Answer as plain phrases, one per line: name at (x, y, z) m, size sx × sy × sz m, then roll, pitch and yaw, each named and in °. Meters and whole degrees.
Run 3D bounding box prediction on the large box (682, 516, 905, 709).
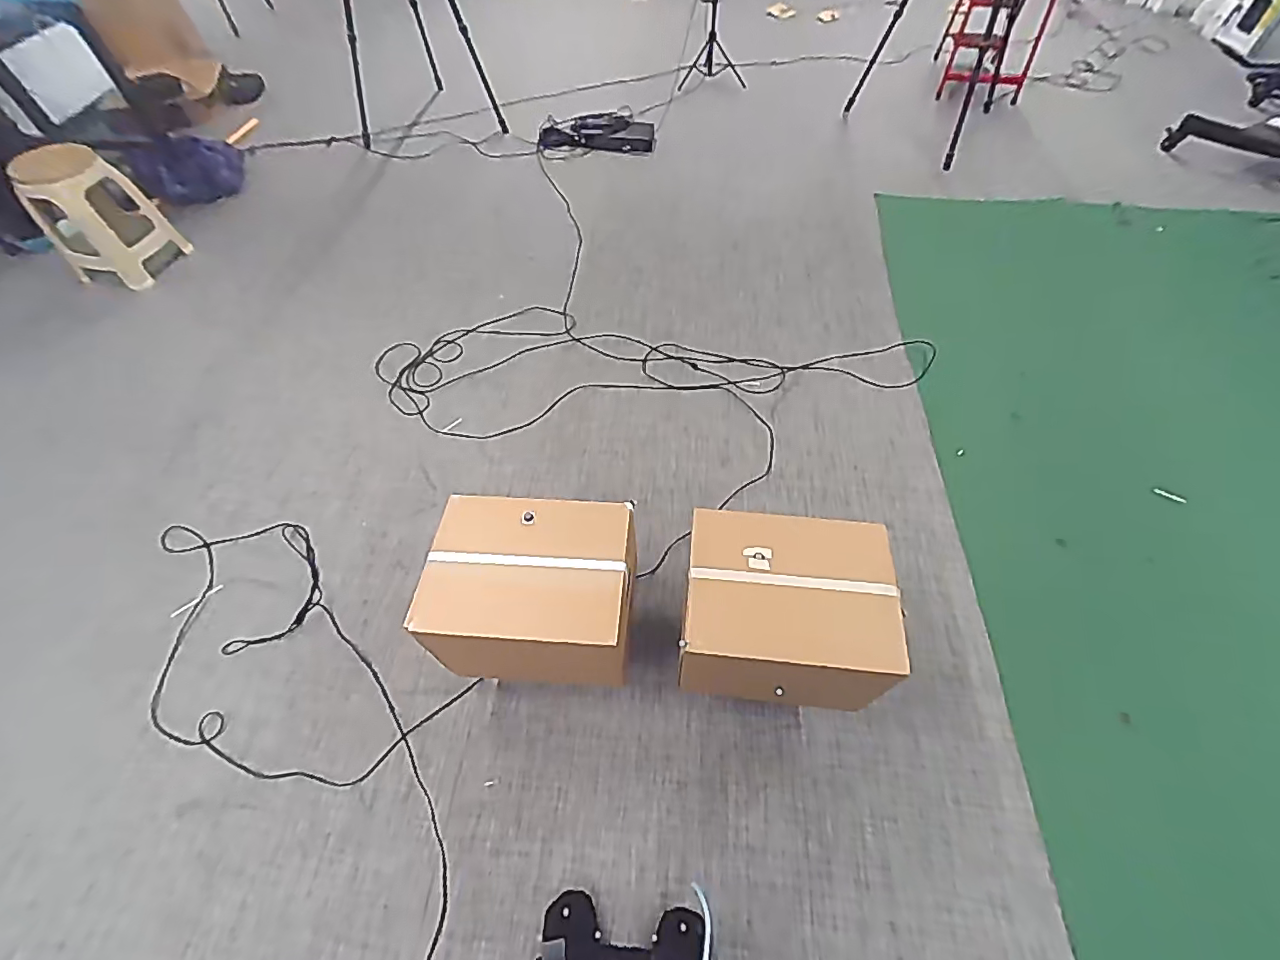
large box at (0.306, 0.300, 1.198) m, size 0.408 × 0.320 × 0.320 m, roll 5°, pitch 55°, yaw 5°
